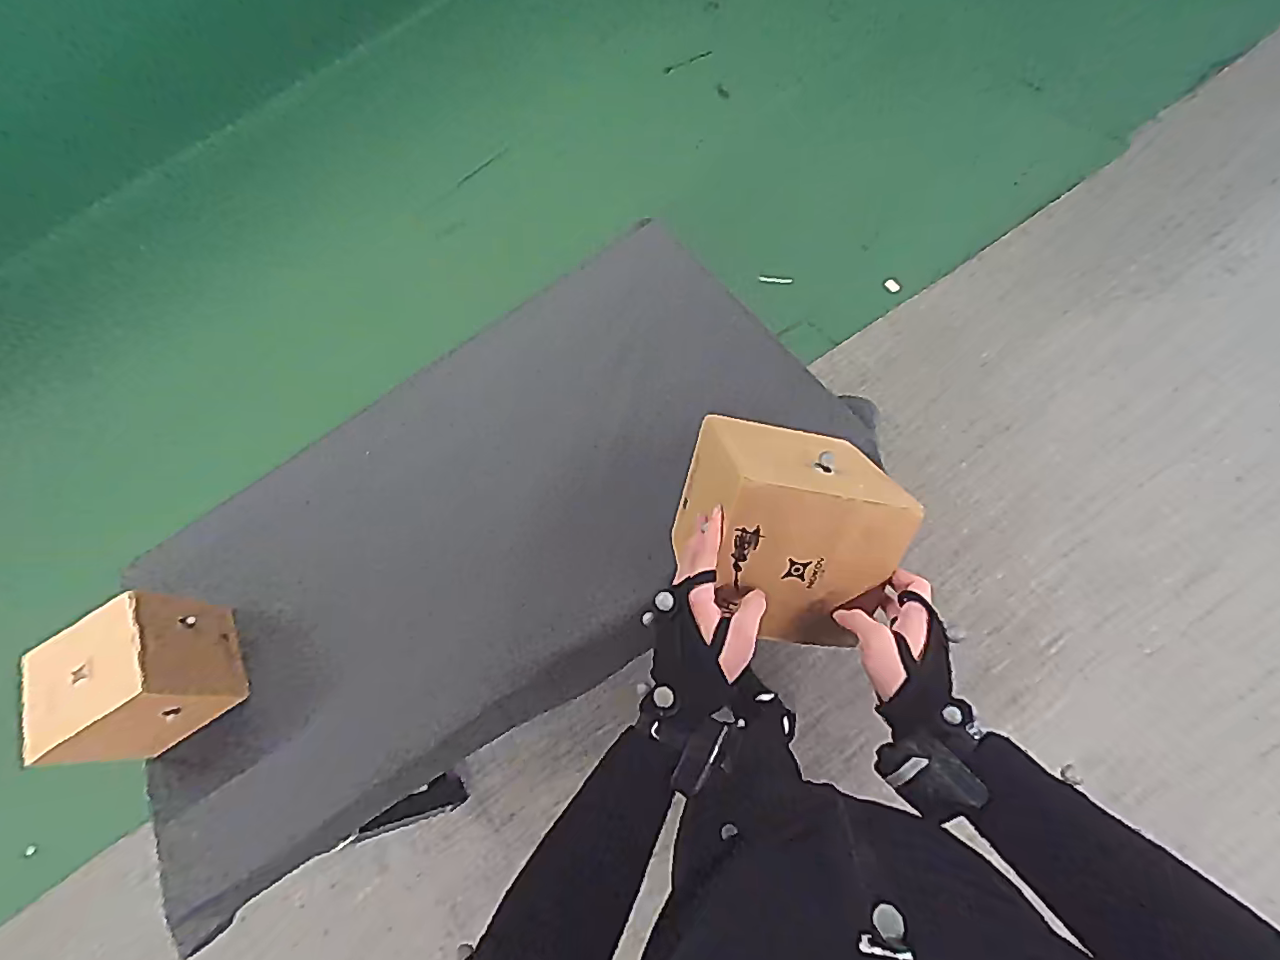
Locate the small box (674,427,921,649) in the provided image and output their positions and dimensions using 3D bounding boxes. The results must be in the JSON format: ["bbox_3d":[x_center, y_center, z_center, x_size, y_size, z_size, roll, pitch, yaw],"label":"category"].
[{"bbox_3d":[0.148,0.054,0.577,0.179,0.168,0.176,9,23,-10],"label":"small box"}]

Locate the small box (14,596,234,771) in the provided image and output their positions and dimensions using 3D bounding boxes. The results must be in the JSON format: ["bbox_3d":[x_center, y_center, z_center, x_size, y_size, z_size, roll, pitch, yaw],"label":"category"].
[{"bbox_3d":[-0.739,0.298,0.795,0.179,0.176,0.168,-31,62,-2],"label":"small box"}]
